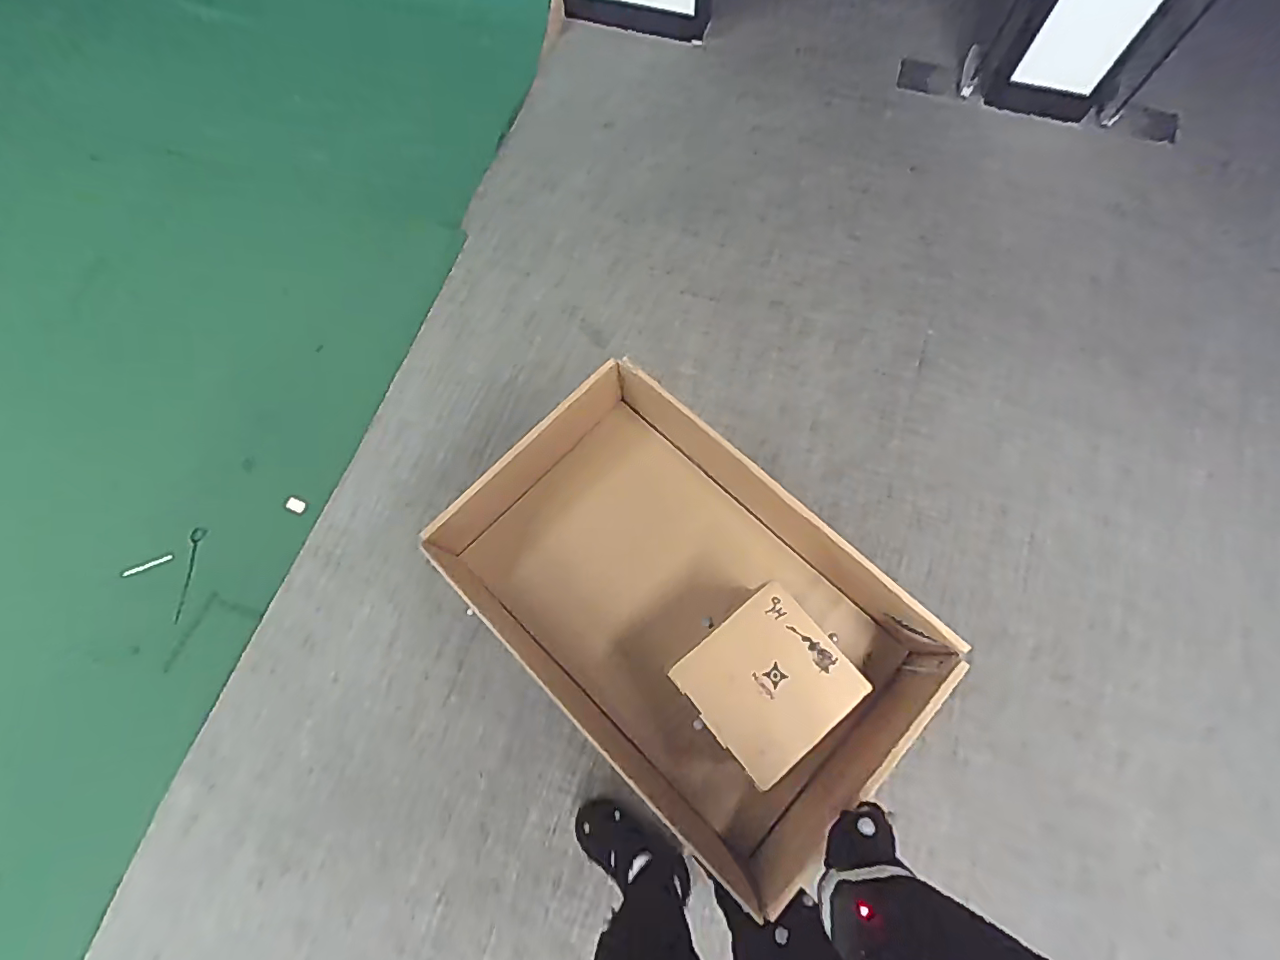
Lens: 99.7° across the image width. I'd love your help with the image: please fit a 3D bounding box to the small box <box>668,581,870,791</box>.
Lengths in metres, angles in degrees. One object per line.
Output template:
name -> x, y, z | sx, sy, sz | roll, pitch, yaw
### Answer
small box -> 0.154, 0.257, 0.704 | 0.179, 0.176, 0.168 | -39, 76, -8
